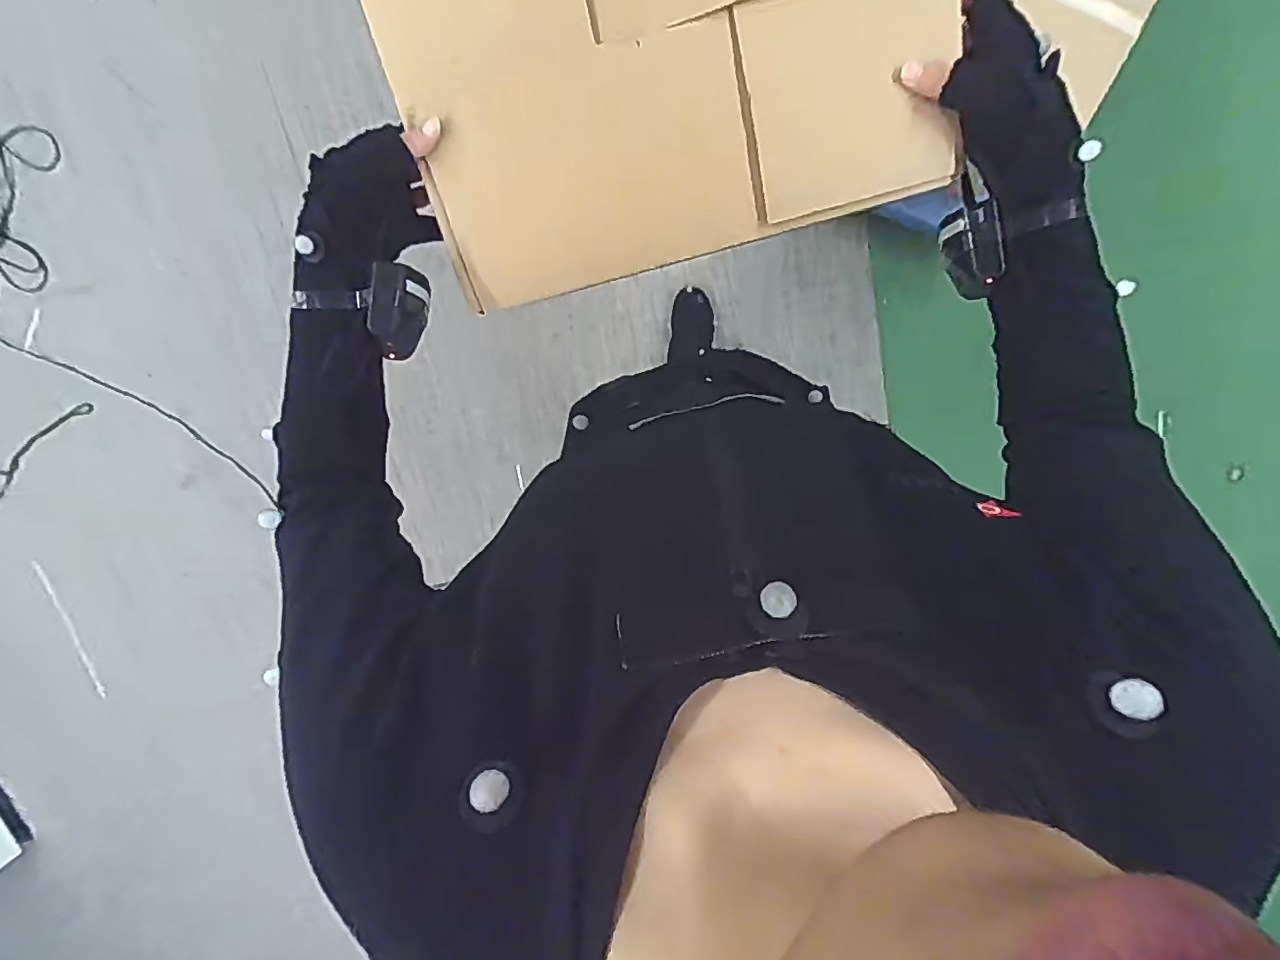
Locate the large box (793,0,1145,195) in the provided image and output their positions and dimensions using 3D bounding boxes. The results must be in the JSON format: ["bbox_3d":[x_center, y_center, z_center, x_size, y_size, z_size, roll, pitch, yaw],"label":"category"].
[{"bbox_3d":[0.537,-0.755,0.927,0.408,0.320,0.320,24,102,-1],"label":"large box"}]
